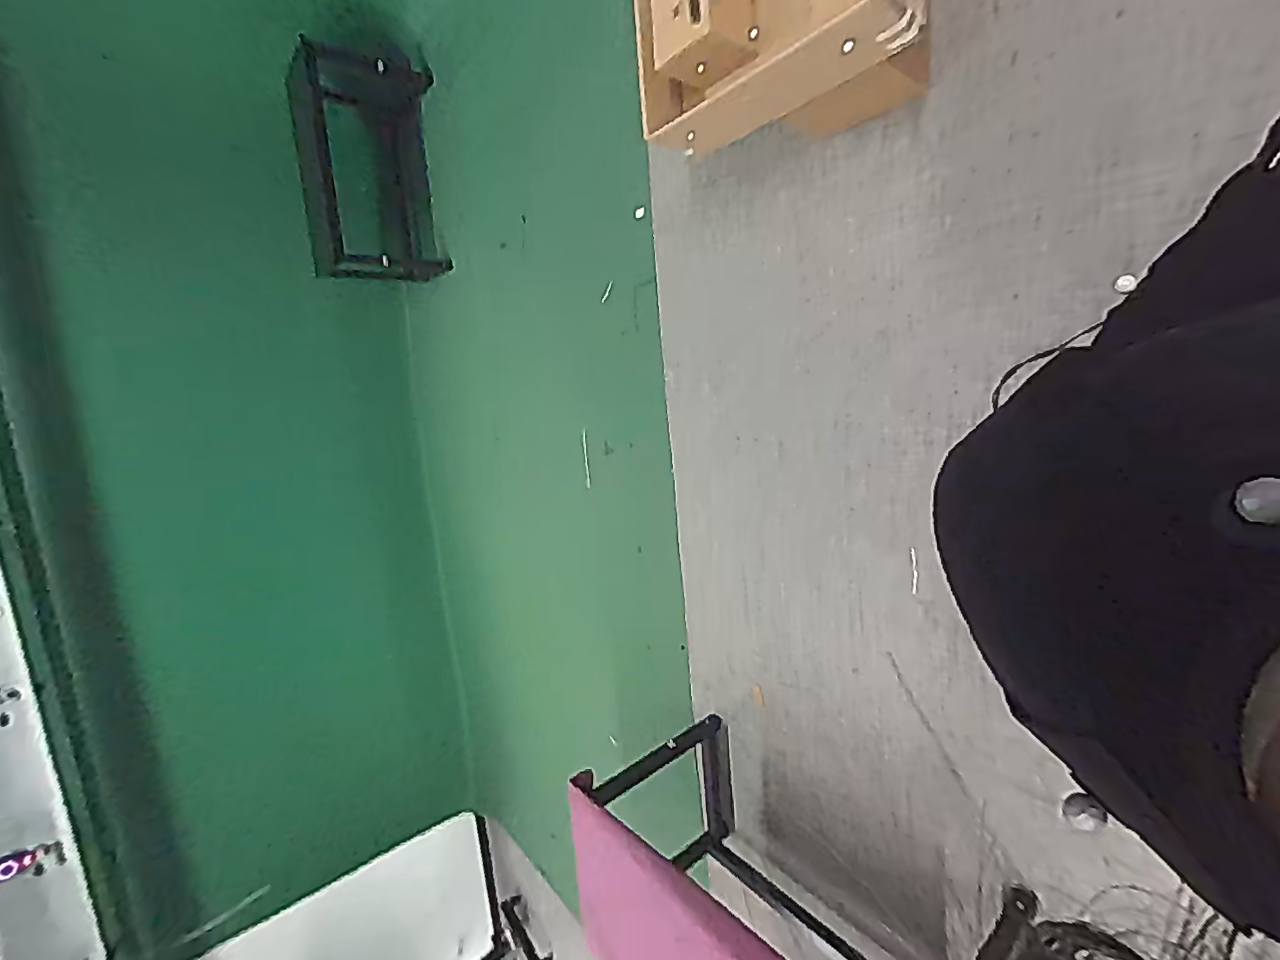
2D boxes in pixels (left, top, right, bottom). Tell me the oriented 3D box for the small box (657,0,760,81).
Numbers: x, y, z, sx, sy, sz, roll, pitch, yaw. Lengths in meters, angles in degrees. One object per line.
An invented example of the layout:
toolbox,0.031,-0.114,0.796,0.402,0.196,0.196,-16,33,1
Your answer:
small box,0.159,-1.050,1.222,0.179,0.176,0.168,8,106,51
